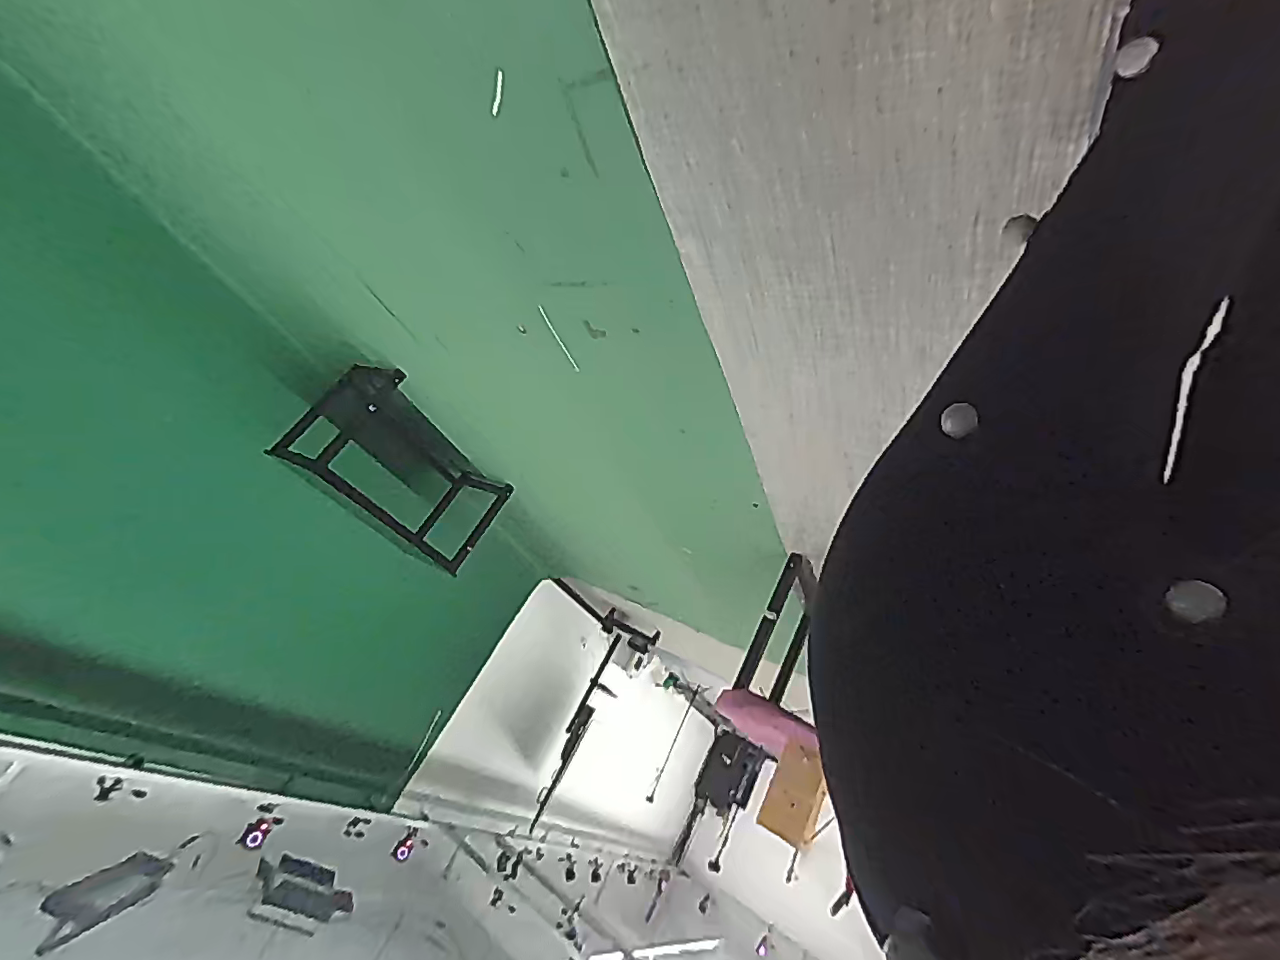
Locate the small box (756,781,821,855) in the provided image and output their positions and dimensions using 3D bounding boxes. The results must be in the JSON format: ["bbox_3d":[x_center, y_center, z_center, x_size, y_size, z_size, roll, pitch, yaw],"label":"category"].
[{"bbox_3d":[0.549,1.233,1.977,0.168,0.176,0.179,14,152,35],"label":"small box"}]

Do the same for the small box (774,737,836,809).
[{"bbox_3d":[0.625,1.102,2.036,0.168,0.176,0.179,14,151,34],"label":"small box"}]
